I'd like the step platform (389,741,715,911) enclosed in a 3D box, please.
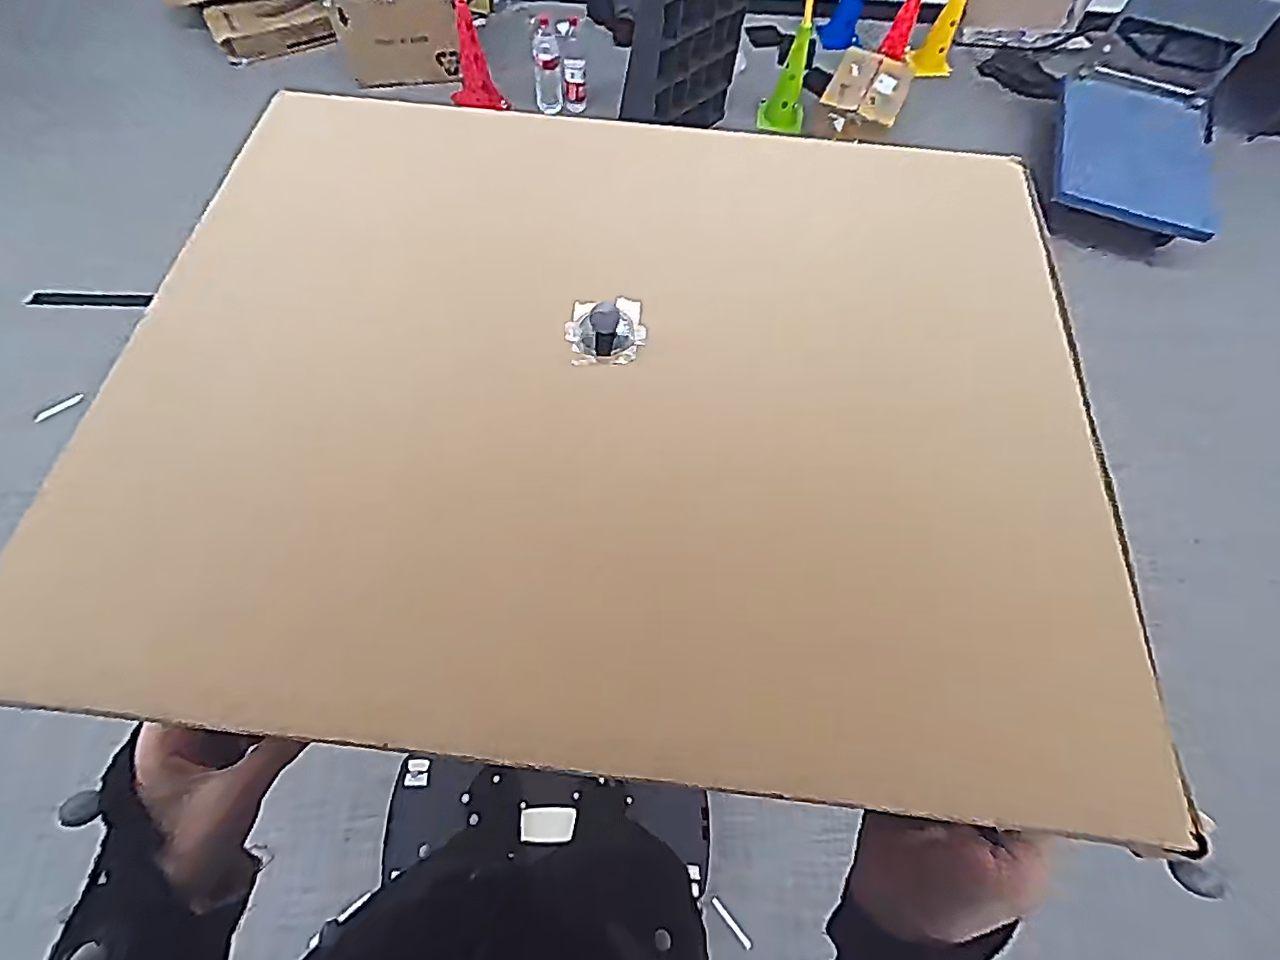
[{"bbox_3d":[-0.178,0.740,1.199,0.684,0.204,0.286,6,66,-2],"label":"step platform"}]

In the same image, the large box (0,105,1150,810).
[{"bbox_3d":[-0.031,0.002,0.364,0.408,0.320,0.320,4,68,3],"label":"large box"}]
